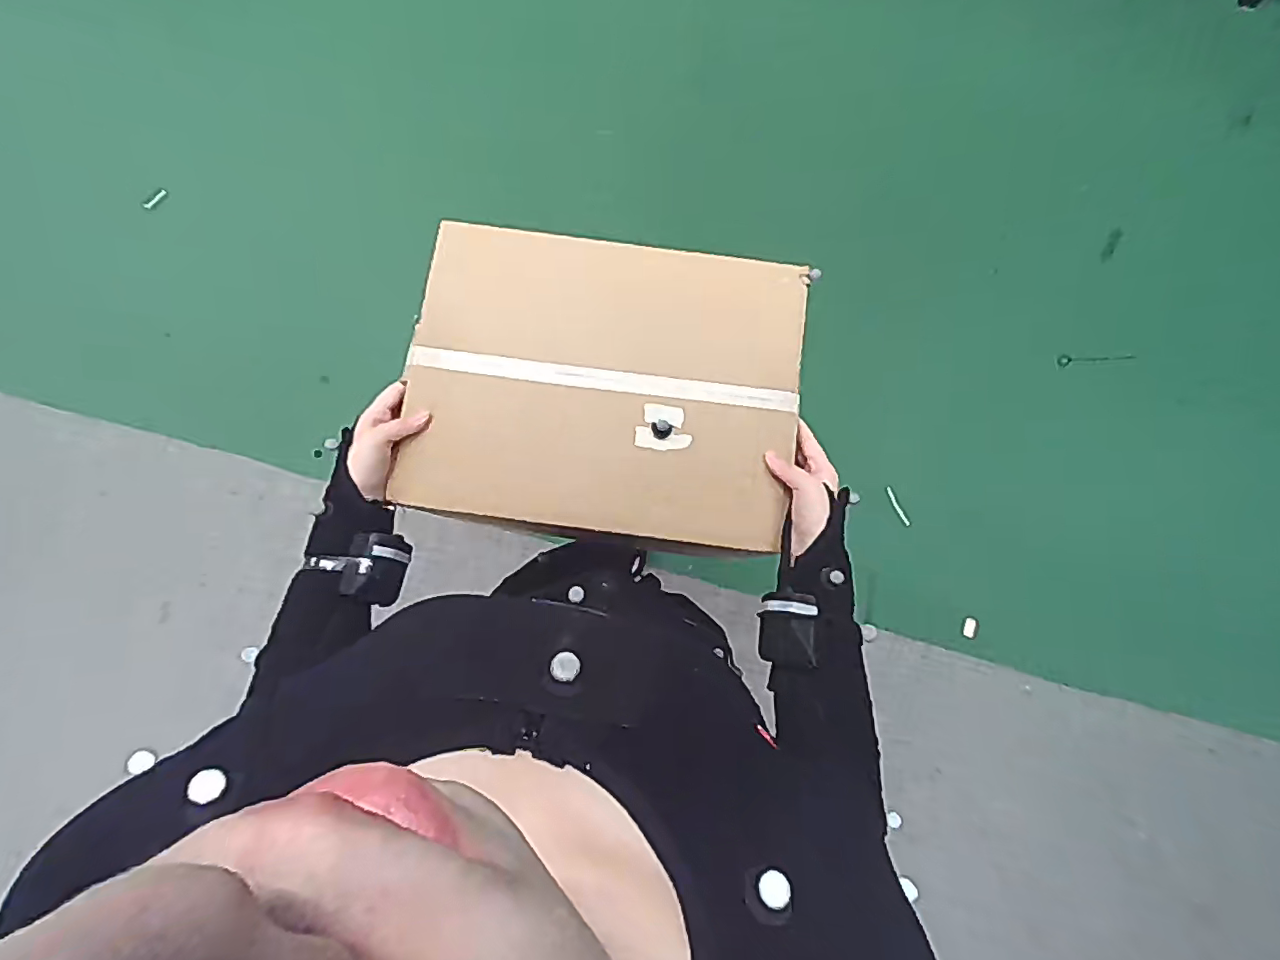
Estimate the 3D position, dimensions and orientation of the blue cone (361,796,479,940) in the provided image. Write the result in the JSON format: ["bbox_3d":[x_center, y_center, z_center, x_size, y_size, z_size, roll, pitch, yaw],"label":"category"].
[{"bbox_3d":[-0.530,0.917,1.237,0.193,0.380,0.192,23,82,3],"label":"blue cone"}]

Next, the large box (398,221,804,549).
[{"bbox_3d":[-0.038,-0.089,0.715,0.408,0.320,0.320,8,81,-1],"label":"large box"}]
